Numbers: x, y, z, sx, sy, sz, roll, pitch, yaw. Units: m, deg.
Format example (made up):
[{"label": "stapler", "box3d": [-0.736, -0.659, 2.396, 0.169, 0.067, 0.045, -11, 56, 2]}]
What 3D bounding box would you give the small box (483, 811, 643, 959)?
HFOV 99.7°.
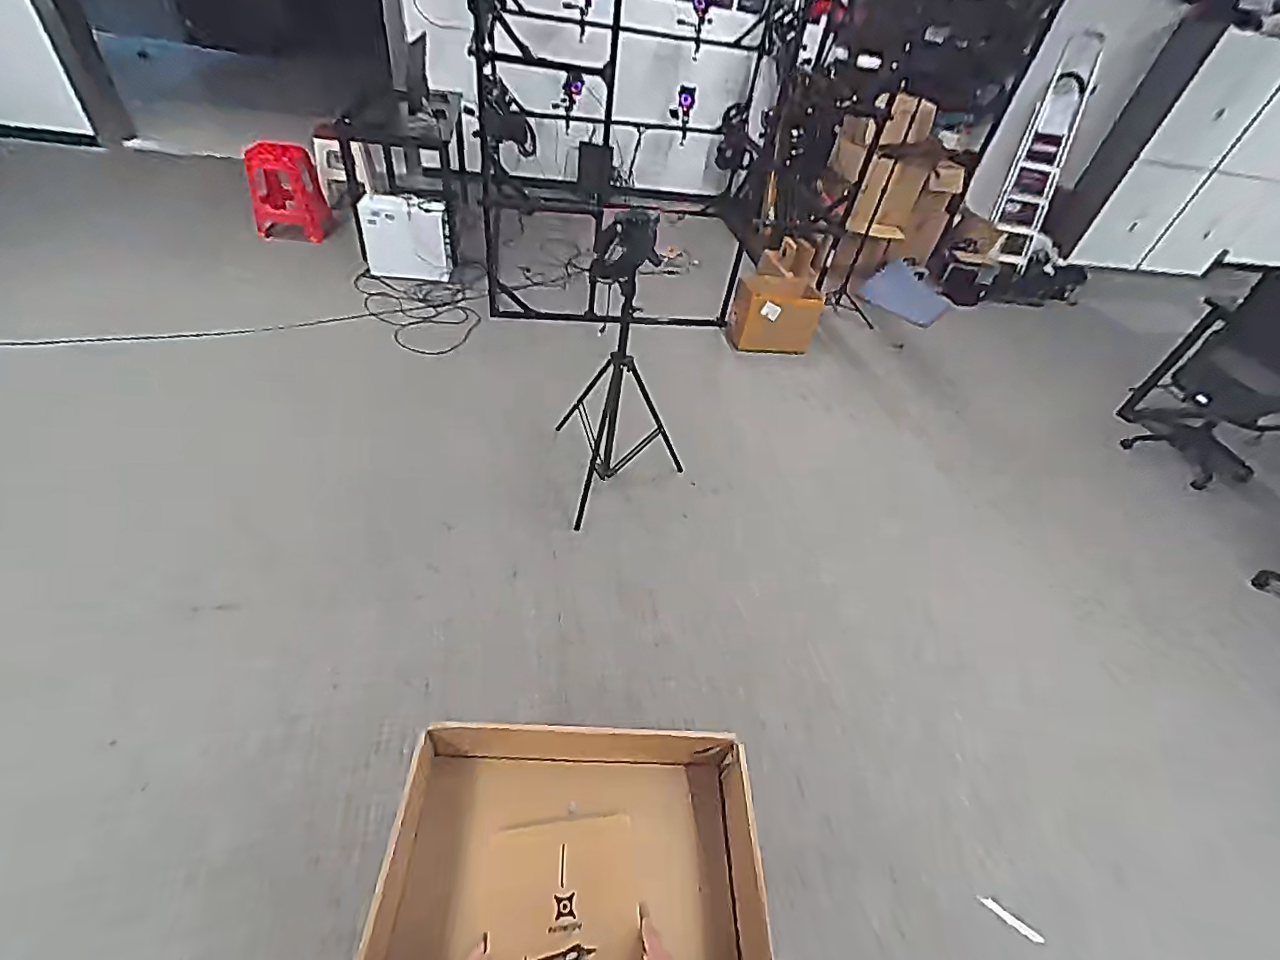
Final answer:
[{"label": "small box", "box3d": [-0.084, 0.504, 0.638, 0.168, 0.176, 0.179, -4, 60, -5]}]
